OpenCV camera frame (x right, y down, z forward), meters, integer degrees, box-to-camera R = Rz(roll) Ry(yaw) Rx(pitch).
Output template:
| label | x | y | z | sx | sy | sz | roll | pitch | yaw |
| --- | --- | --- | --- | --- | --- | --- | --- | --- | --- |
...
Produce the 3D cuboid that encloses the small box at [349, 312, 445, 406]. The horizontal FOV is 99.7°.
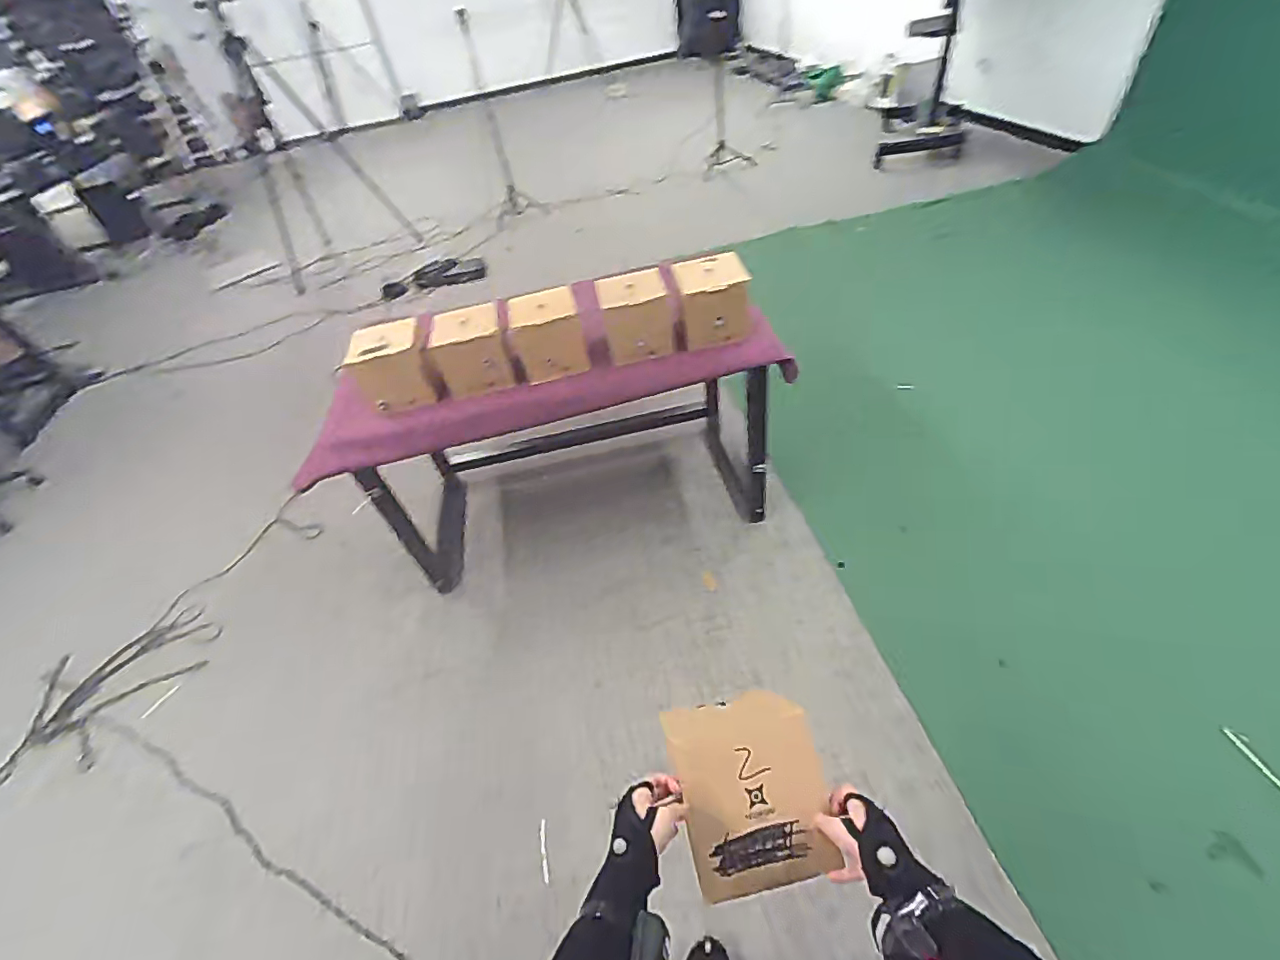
| label | x | y | z | sx | sy | sz | roll | pitch | yaw |
| --- | --- | --- | --- | --- | --- | --- | --- | --- | --- |
| small box | -0.630 | -0.311 | 1.425 | 0.168 | 0.176 | 0.179 | -14 | 45 | -2 |
